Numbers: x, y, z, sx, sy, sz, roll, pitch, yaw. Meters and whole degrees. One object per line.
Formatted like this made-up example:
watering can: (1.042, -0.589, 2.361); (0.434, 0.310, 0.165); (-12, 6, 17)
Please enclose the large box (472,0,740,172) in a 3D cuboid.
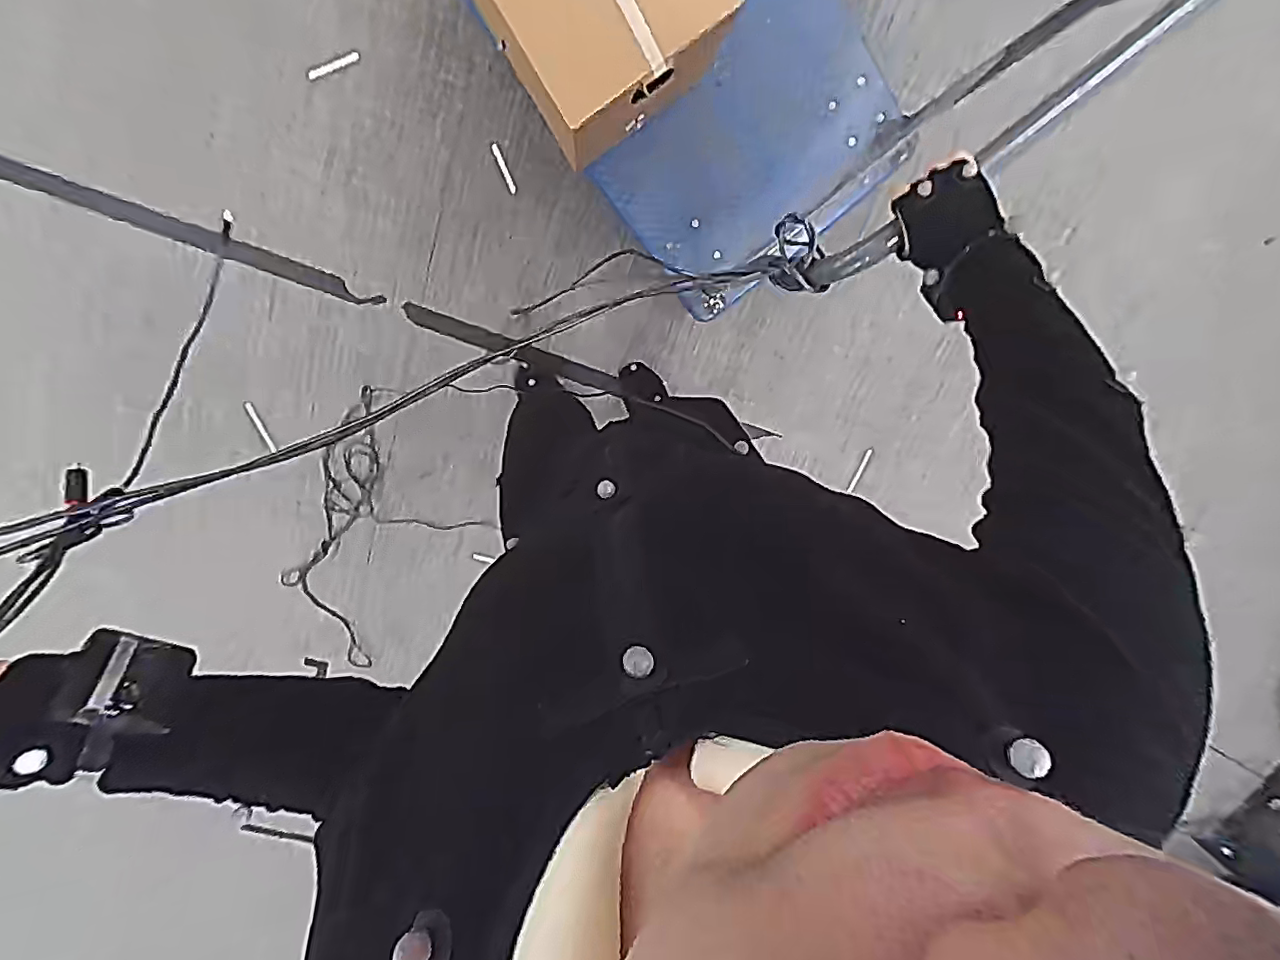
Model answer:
large box: (-0.096, -0.807, 0.881); (0.320, 0.320, 0.408); (-33, 108, 6)
